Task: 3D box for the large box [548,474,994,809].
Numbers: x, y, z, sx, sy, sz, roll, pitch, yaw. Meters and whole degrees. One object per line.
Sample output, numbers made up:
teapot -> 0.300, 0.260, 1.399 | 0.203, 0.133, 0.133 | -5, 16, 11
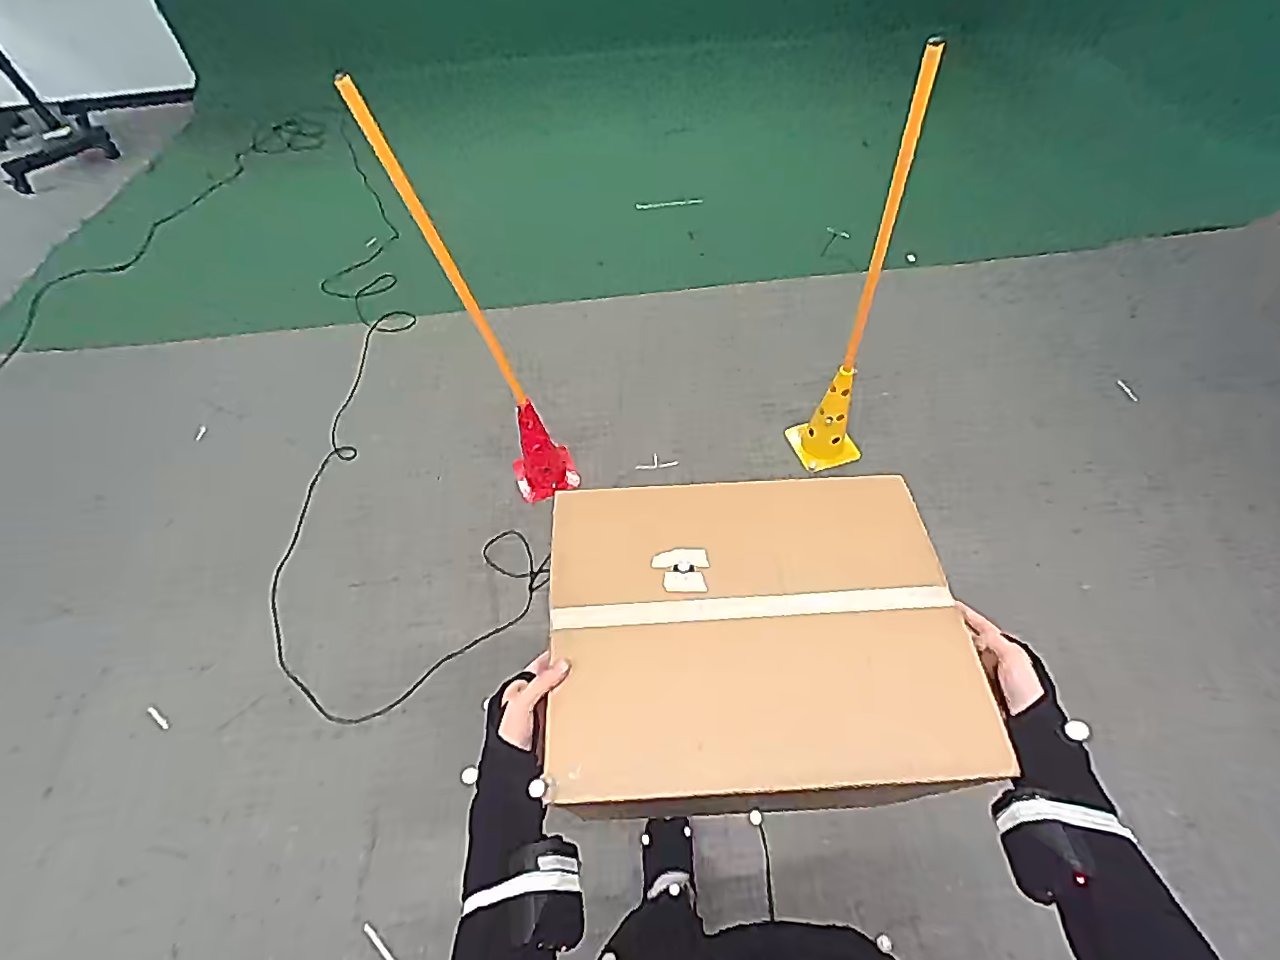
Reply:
large box -> 0.115, 0.215, 0.679 | 0.408, 0.320, 0.320 | -3, 55, 0
